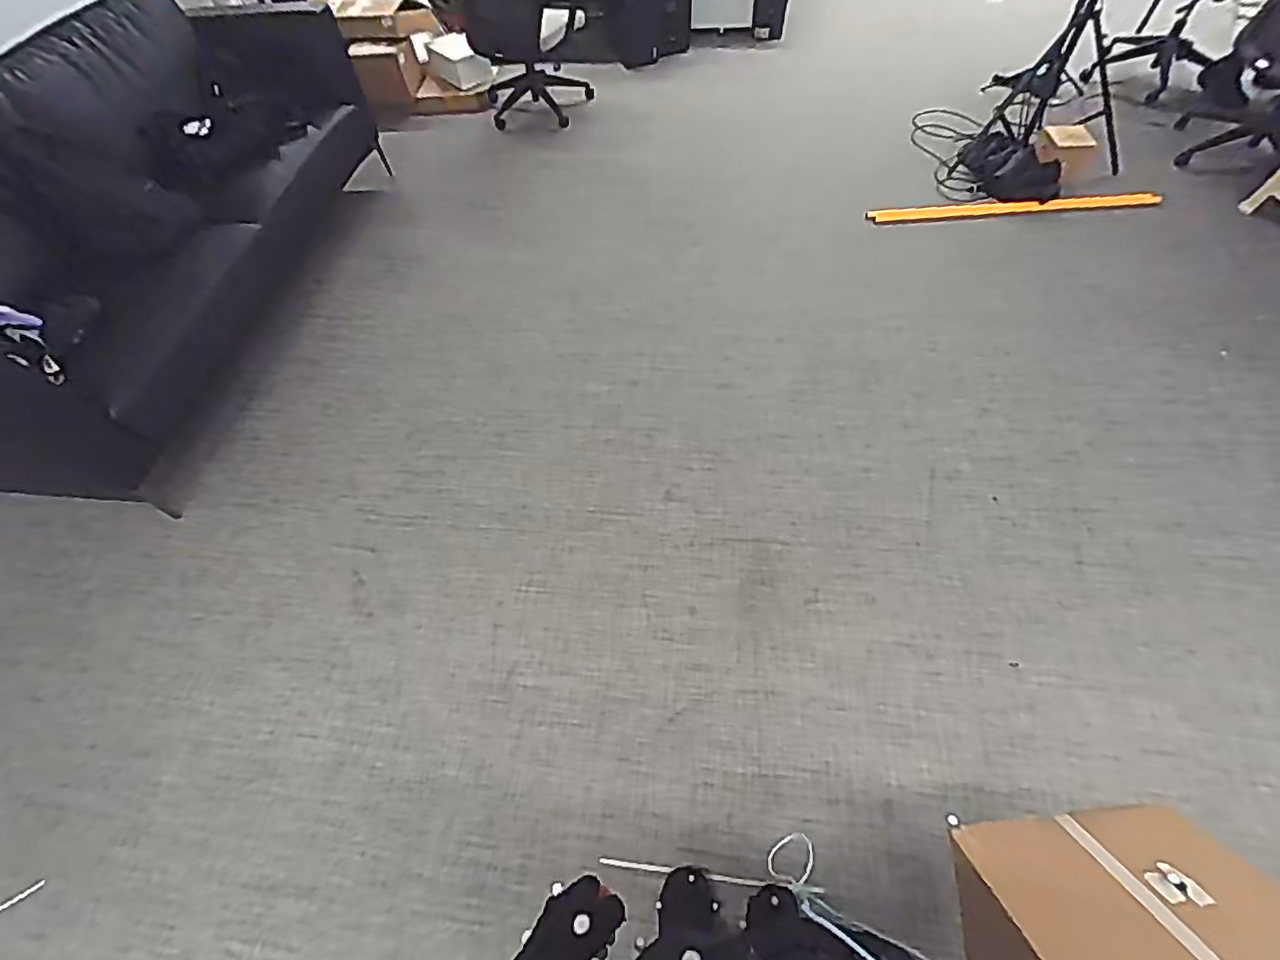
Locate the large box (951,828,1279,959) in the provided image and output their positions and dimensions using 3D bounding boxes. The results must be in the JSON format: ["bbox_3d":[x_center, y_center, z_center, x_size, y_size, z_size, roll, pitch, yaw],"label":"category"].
[{"bbox_3d":[0.621,0.682,0.594,0.320,0.408,0.320,-8,93,3],"label":"large box"}]
